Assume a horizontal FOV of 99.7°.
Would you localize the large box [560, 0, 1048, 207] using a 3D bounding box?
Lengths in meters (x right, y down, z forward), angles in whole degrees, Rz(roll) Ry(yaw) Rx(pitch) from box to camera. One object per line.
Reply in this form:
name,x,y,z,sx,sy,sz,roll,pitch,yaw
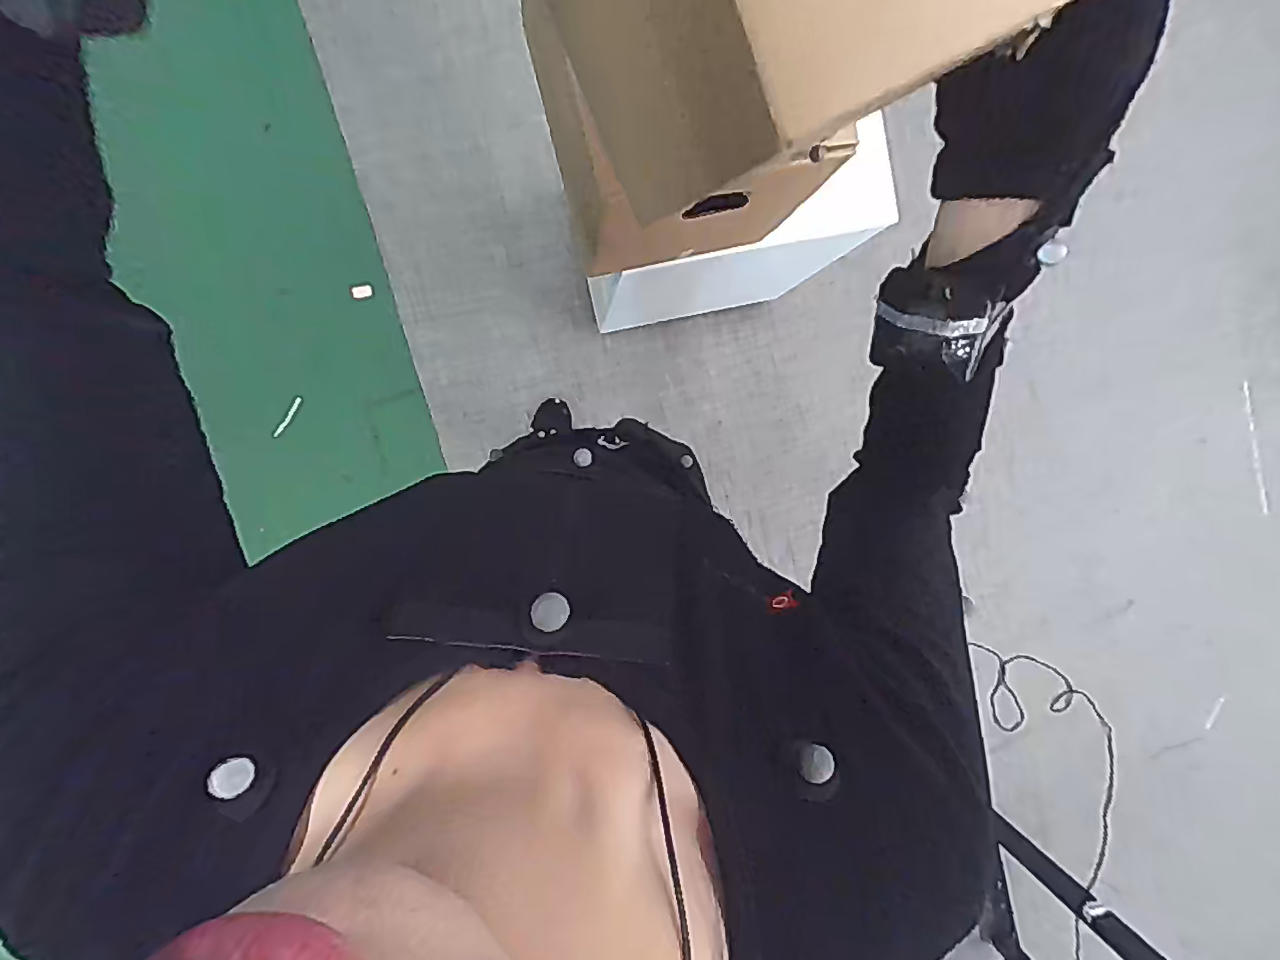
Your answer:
large box,0.081,-0.433,0.293,0.320,0.320,0.408,-26,111,-1
